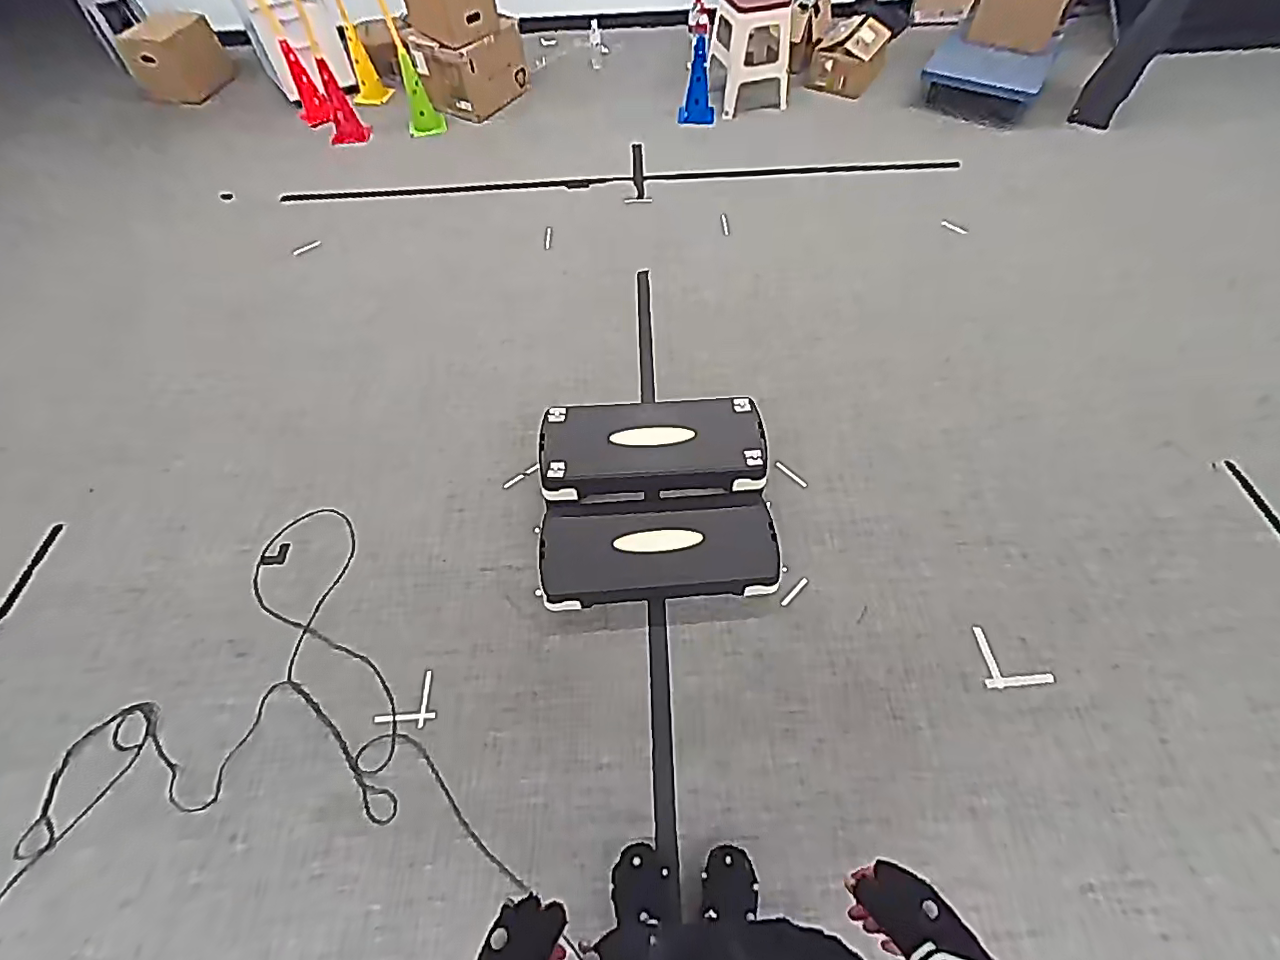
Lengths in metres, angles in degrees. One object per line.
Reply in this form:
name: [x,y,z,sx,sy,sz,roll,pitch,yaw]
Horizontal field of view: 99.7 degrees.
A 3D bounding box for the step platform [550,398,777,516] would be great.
step platform: [0.068,-0.078,1.667,0.684,0.204,0.286,-4,57,-2]
